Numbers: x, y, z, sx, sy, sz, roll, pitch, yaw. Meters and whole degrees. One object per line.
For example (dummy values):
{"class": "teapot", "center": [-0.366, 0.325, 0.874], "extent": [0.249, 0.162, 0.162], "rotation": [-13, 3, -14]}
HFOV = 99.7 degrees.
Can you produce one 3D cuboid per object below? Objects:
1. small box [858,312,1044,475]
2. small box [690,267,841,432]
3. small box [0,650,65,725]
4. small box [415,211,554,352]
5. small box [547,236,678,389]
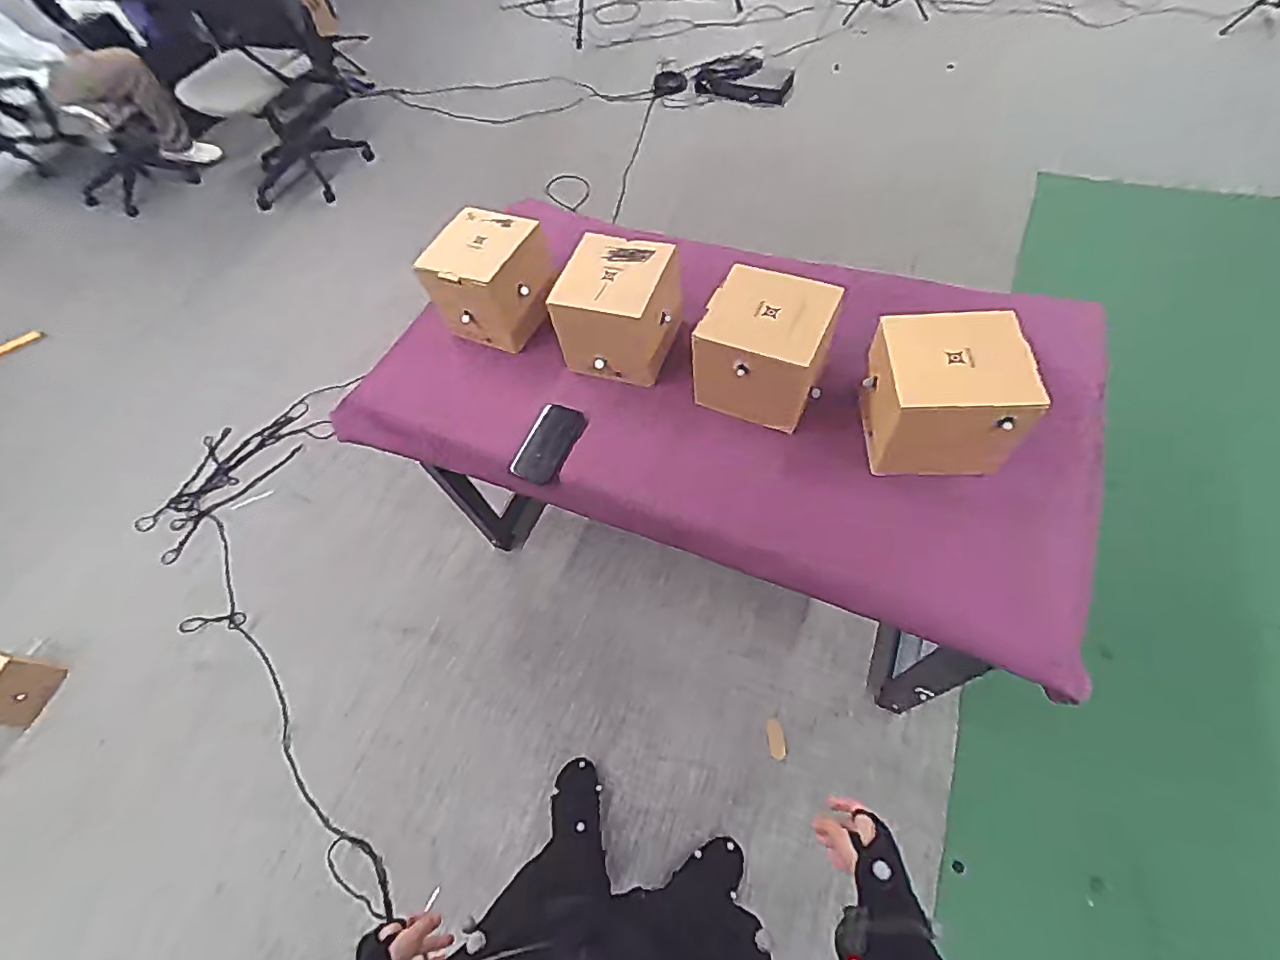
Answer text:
{"class": "small box", "center": [0.423, -0.117, 0.776], "extent": [0.179, 0.176, 0.168], "rotation": [0, 59, 8]}
{"class": "small box", "center": [0.194, -0.202, 0.860], "extent": [0.179, 0.176, 0.168], "rotation": [22, 65, 19]}
{"class": "small box", "center": [-1.808, 0.580, 1.519], "extent": [0.179, 0.176, 0.168], "rotation": [10, 62, 14]}
{"class": "small box", "center": [-0.278, -0.372, 1.025], "extent": [0.168, 0.176, 0.179], "rotation": [20, 65, 18]}
{"class": "small box", "center": [-0.037, -0.290, 0.943], "extent": [0.168, 0.176, 0.179], "rotation": [15, 63, 16]}
